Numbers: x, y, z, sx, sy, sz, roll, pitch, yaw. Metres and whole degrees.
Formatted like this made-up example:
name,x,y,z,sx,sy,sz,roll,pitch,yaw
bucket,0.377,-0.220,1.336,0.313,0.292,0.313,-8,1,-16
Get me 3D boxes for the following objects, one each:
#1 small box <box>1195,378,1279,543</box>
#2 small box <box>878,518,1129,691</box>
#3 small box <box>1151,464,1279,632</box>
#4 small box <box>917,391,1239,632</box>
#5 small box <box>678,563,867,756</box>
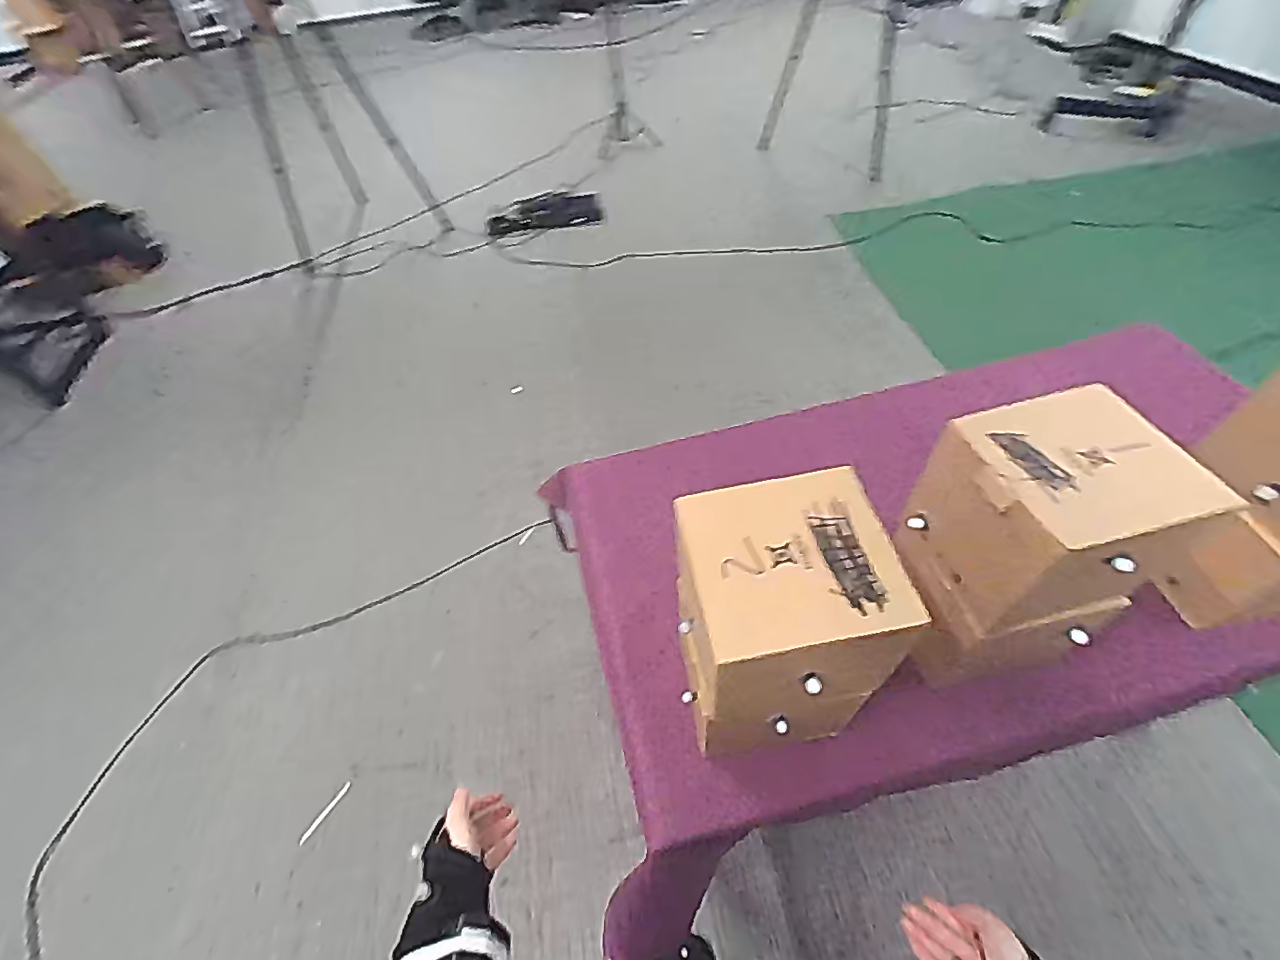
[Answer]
name,x,y,z,sx,sy,sz,roll,pitch,yaw
small box,0.784,-0.023,0.575,0.168,0.176,0.179,-11,51,-3
small box,0.436,0.147,0.688,0.179,0.176,0.168,-12,50,-2
small box,0.795,0.082,0.701,0.179,0.176,0.168,-8,50,-1
small box,0.420,0.038,0.566,0.179,0.176,0.168,-13,51,-5
small box,0.147,0.223,0.661,0.179,0.176,0.168,-8,51,0
